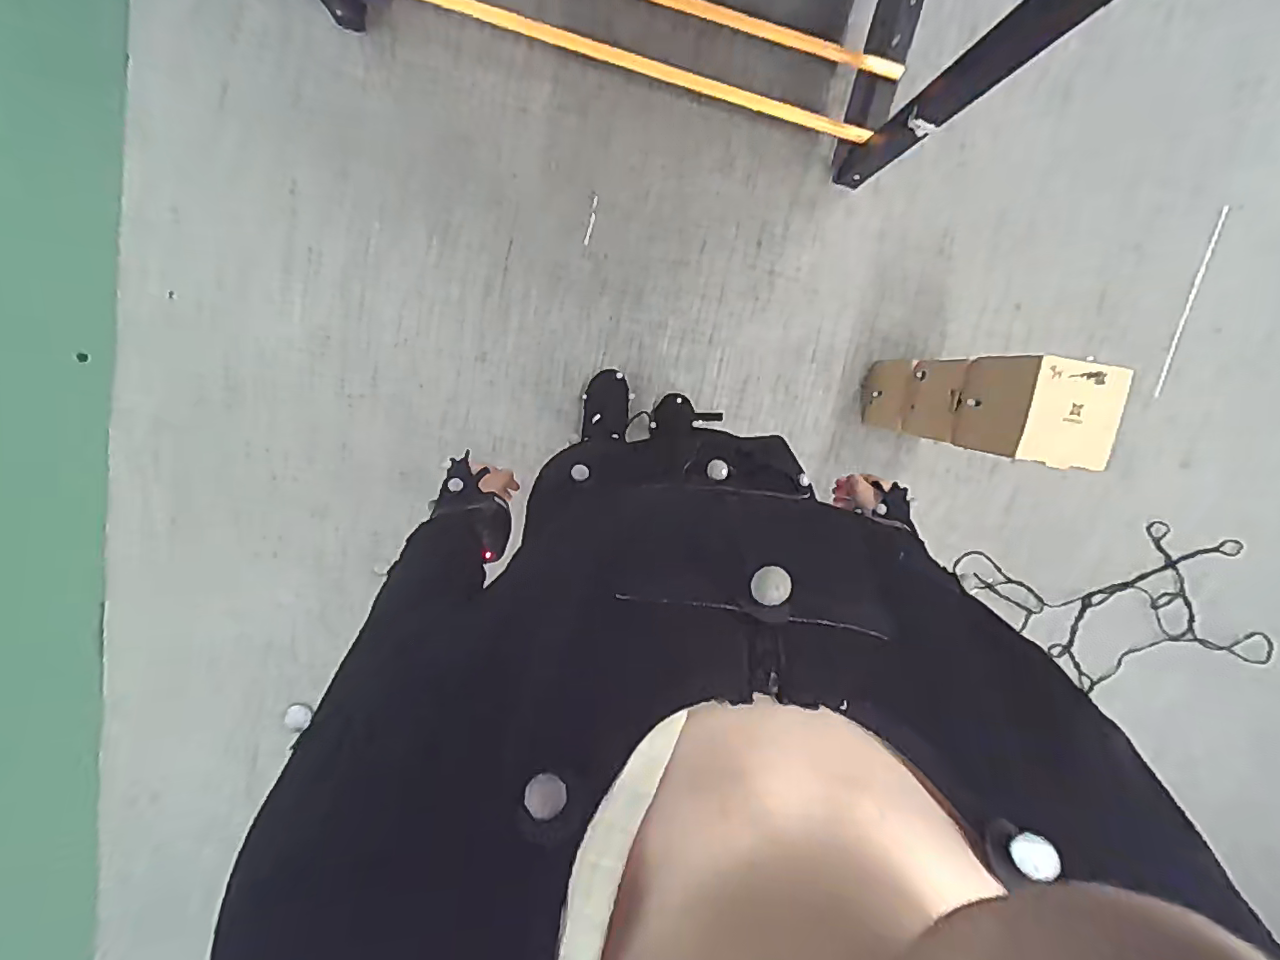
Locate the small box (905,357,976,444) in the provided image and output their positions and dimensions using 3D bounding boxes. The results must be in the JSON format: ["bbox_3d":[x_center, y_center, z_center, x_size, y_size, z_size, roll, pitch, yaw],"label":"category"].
[{"bbox_3d":[0.689,-0.158,1.129,0.179,0.176,0.168,7,101,-7],"label":"small box"}]

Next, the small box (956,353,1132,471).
[{"bbox_3d":[0.706,-0.126,0.969,0.168,0.176,0.179,8,102,-6],"label":"small box"}]

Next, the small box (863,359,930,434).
[{"bbox_3d":[0.666,-0.194,1.288,0.179,0.176,0.168,7,100,-5],"label":"small box"}]
